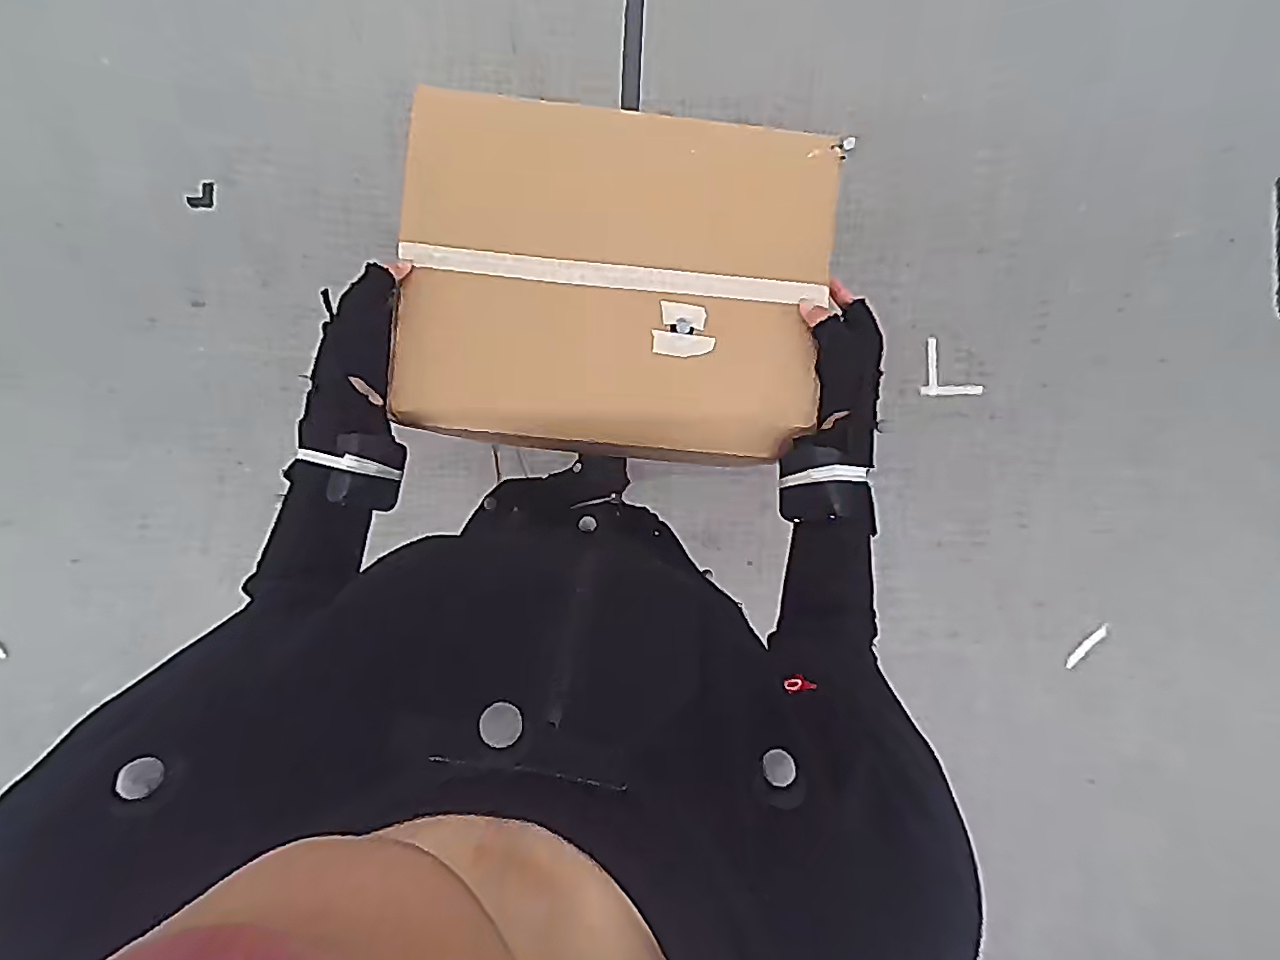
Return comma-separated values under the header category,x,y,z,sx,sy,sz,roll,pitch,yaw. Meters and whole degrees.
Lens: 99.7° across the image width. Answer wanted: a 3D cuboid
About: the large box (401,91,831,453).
category,x,y,z,sx,sy,sz,roll,pitch,yaw
large box,-0.030,-0.206,0.672,0.408,0.320,0.320,5,91,-3
